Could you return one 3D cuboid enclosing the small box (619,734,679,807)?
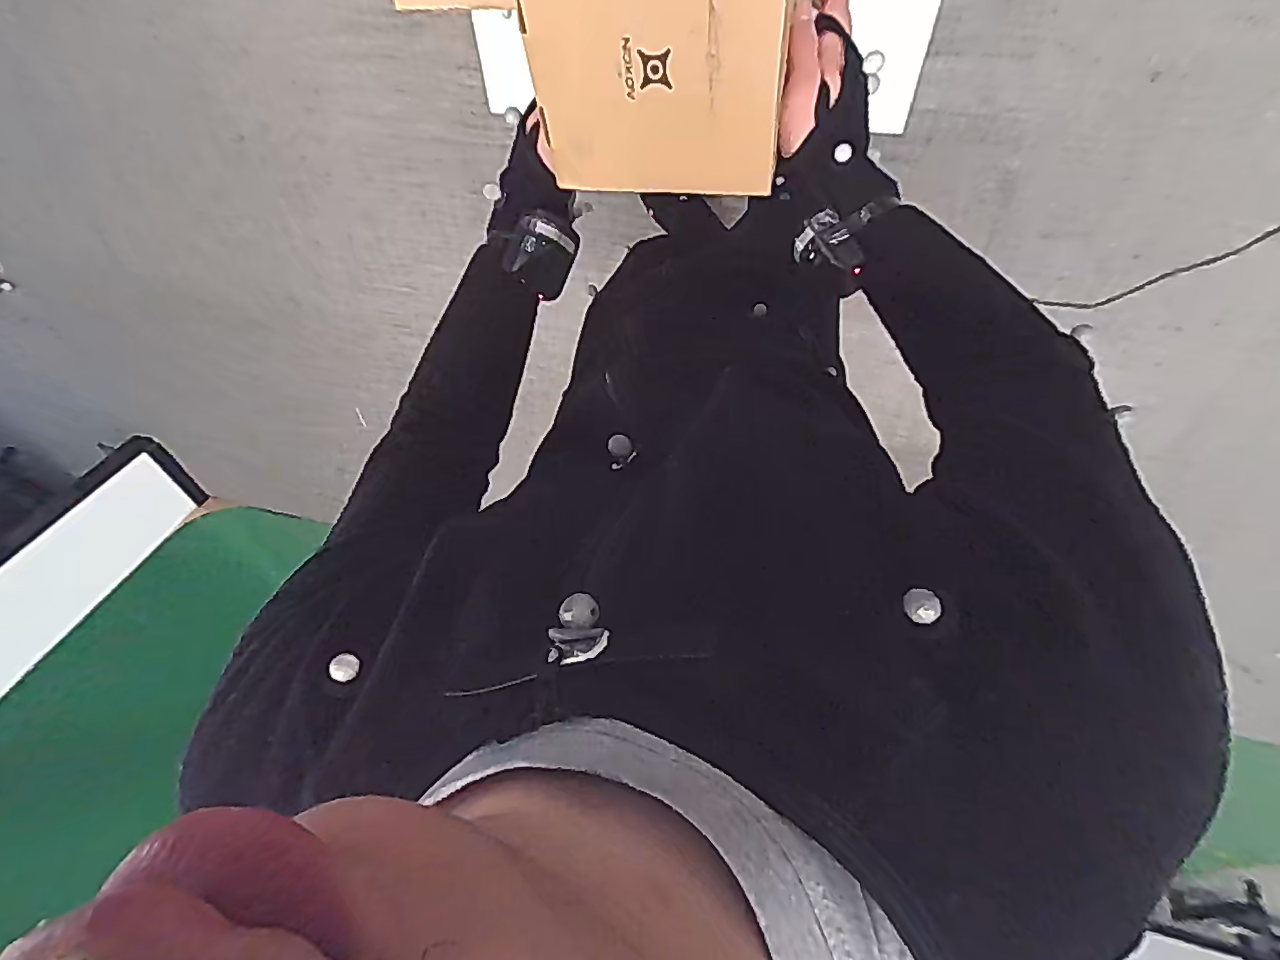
[{"bbox_3d":[0.034,1.017,1.899,0.179,0.176,0.168,13,138,7],"label":"small box"}]
